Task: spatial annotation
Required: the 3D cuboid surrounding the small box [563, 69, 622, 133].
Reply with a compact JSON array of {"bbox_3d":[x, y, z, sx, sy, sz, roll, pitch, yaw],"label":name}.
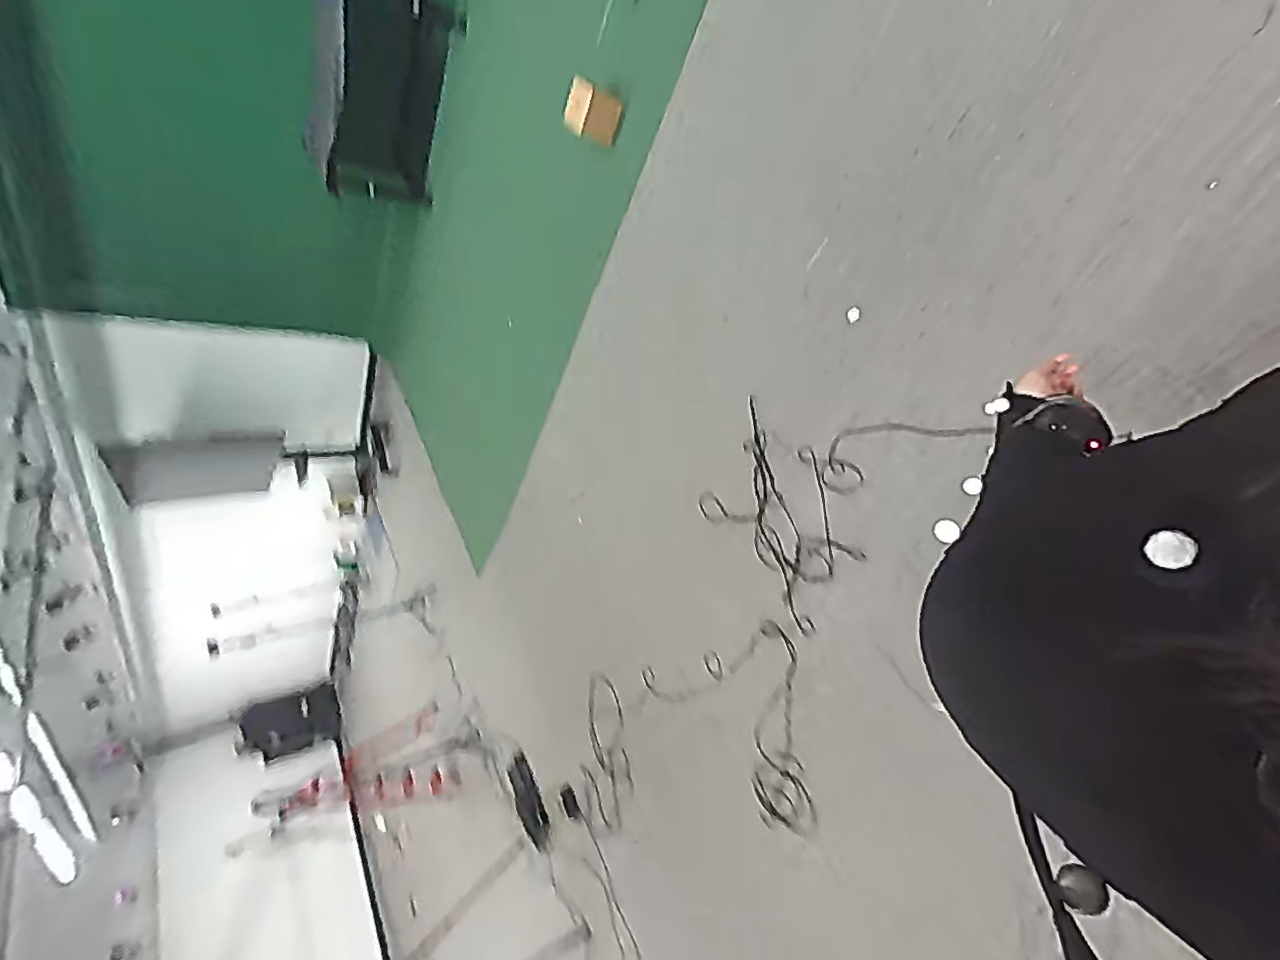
[{"bbox_3d":[-0.205,-1.647,2.357,0.179,0.176,0.168,55,134,31],"label":"small box"}]
